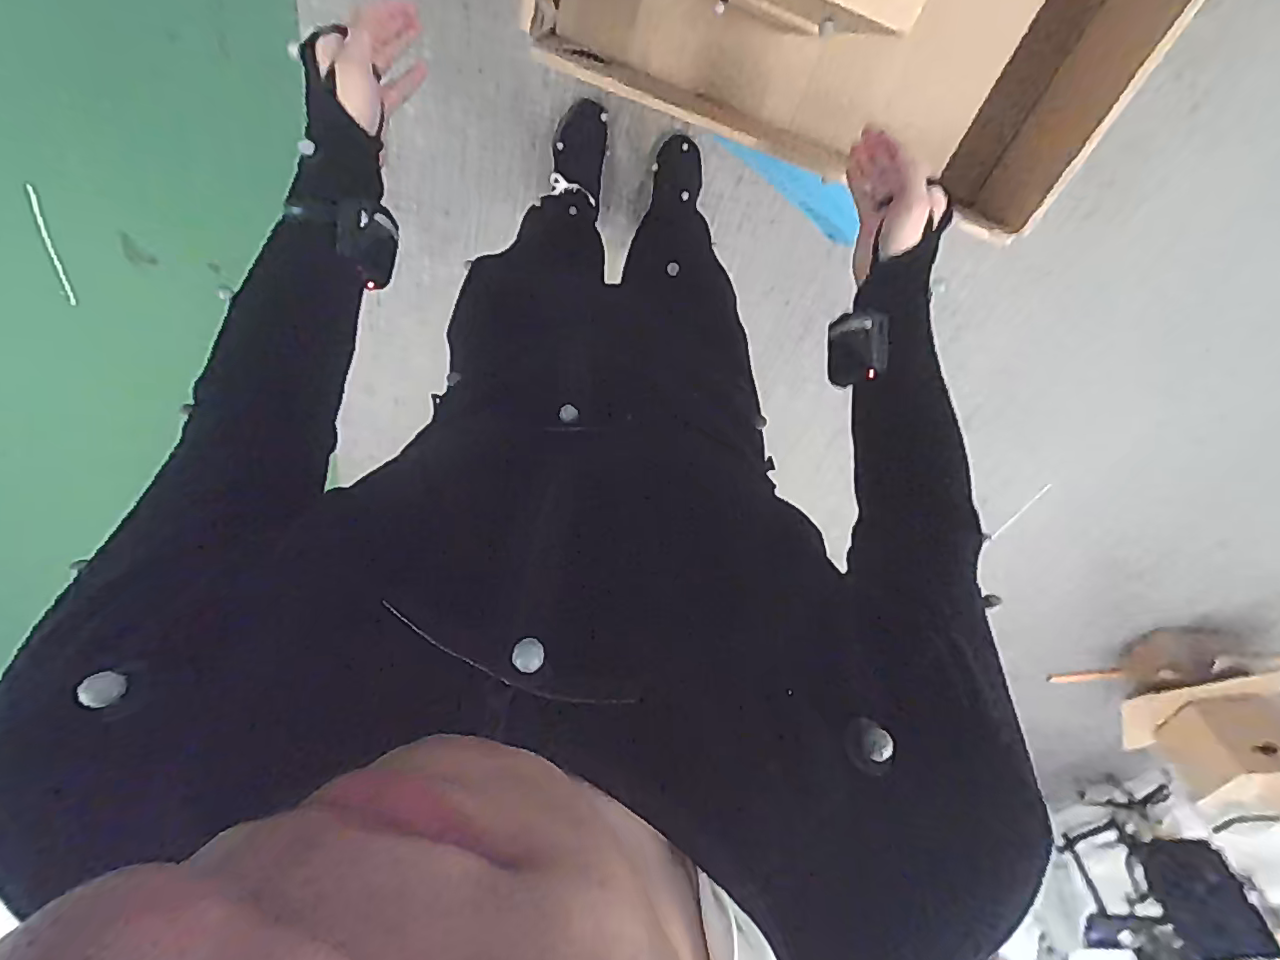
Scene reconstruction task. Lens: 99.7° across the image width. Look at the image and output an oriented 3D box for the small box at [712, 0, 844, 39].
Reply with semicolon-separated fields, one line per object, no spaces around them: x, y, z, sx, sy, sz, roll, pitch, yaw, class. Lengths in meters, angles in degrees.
0.116;-0.544;0.497;0.179;0.176;0.168;12;129;-15;small box
